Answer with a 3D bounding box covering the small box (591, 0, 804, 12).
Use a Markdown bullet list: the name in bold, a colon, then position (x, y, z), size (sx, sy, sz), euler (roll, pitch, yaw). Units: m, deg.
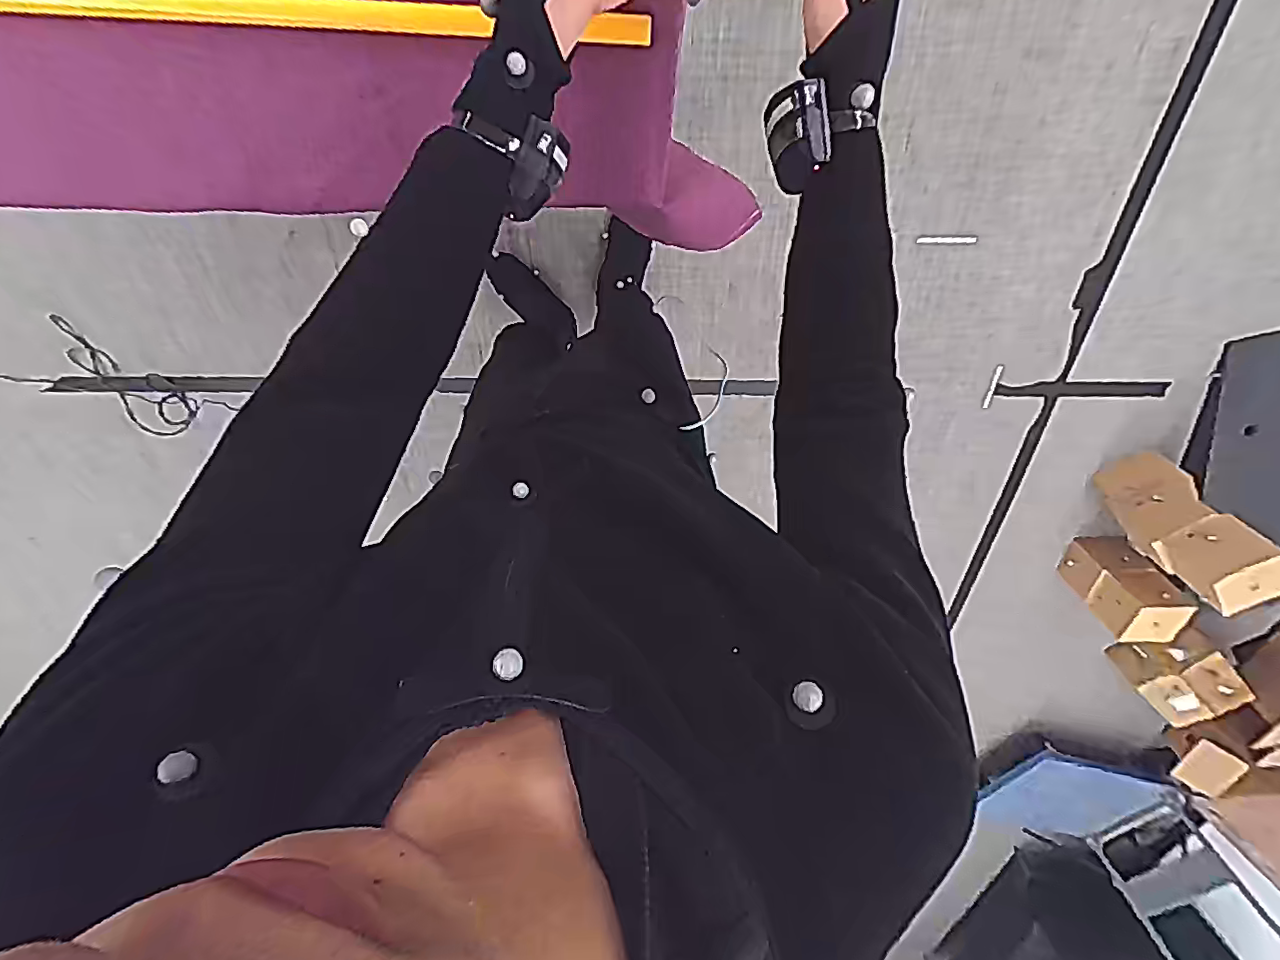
- **small box**: position (0.048, -0.499, 0.439), size (0.179, 0.176, 0.168), euler (1, 134, 0)
